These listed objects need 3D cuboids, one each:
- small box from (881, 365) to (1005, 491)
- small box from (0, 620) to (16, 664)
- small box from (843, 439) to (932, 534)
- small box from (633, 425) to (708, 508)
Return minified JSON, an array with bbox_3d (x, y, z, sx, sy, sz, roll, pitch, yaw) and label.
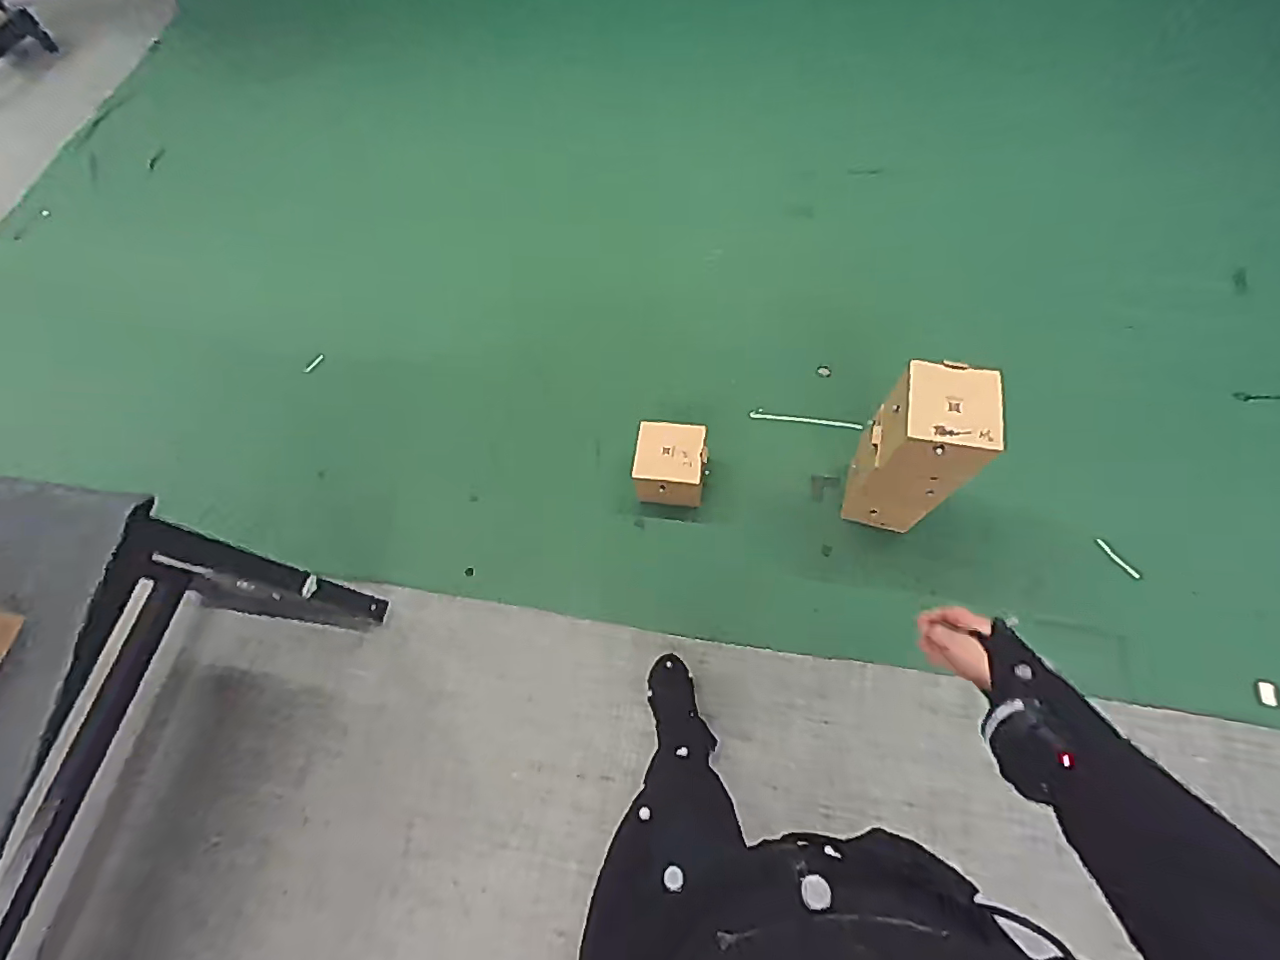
[{"bbox_3d":[0.595,-0.100,1.081,0.168,0.176,0.179,11,67,9],"label":"small box"},{"bbox_3d":[-0.932,0.230,0.640,0.179,0.176,0.168,5,68,11],"label":"small box"},{"bbox_3d":[0.632,0.023,1.384,0.168,0.176,0.179,14,68,11],"label":"small box"},{"bbox_3d":[0.086,-0.032,1.457,0.179,0.176,0.168,6,67,8],"label":"small box"}]
